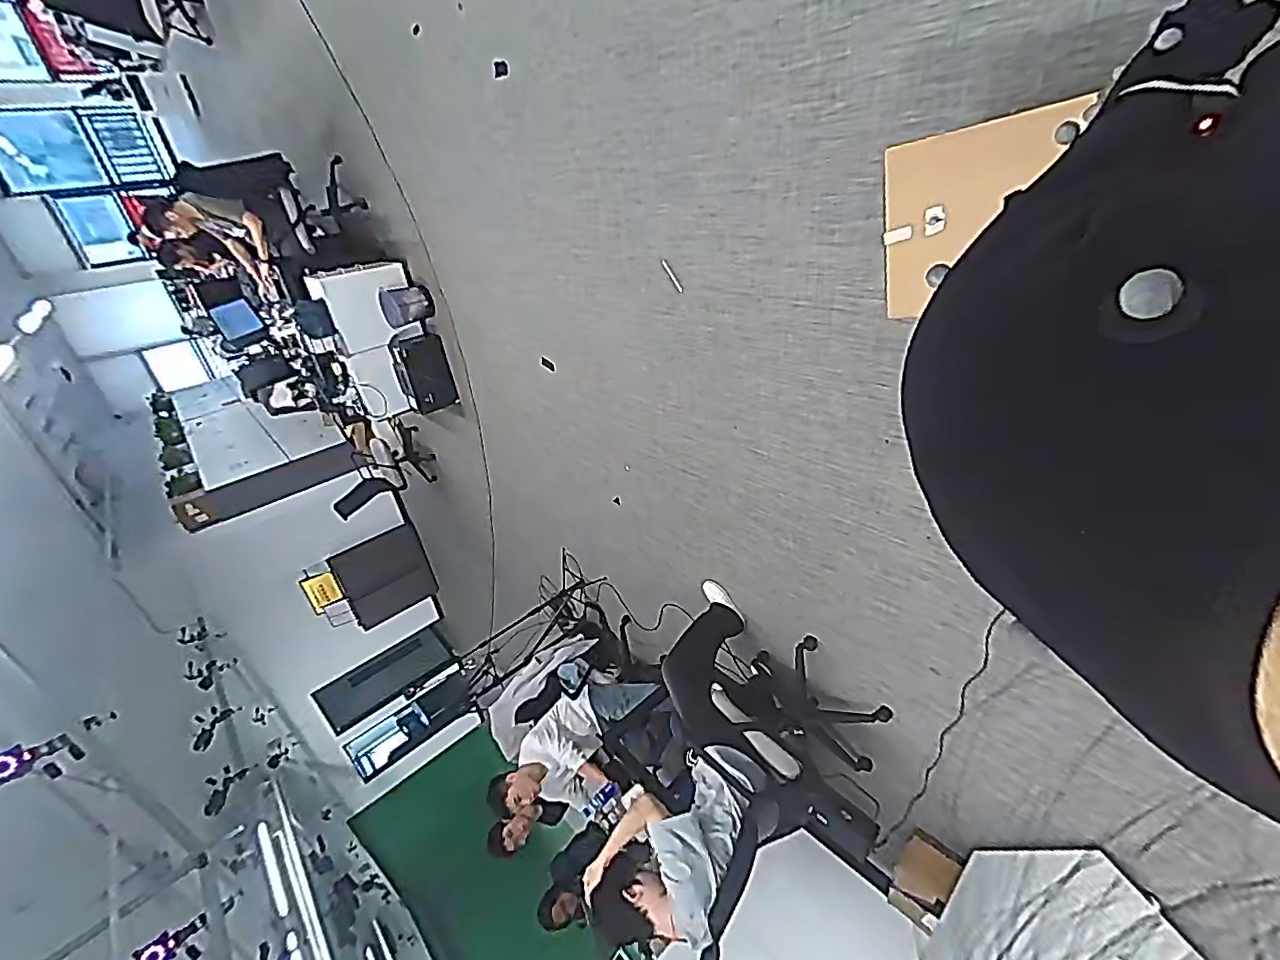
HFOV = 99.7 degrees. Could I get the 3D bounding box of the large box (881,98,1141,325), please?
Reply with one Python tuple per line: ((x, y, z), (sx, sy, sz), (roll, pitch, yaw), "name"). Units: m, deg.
((0.717, -0.514, 1.063), (0.320, 0.408, 0.320), (17, 128, 46), "large box")
